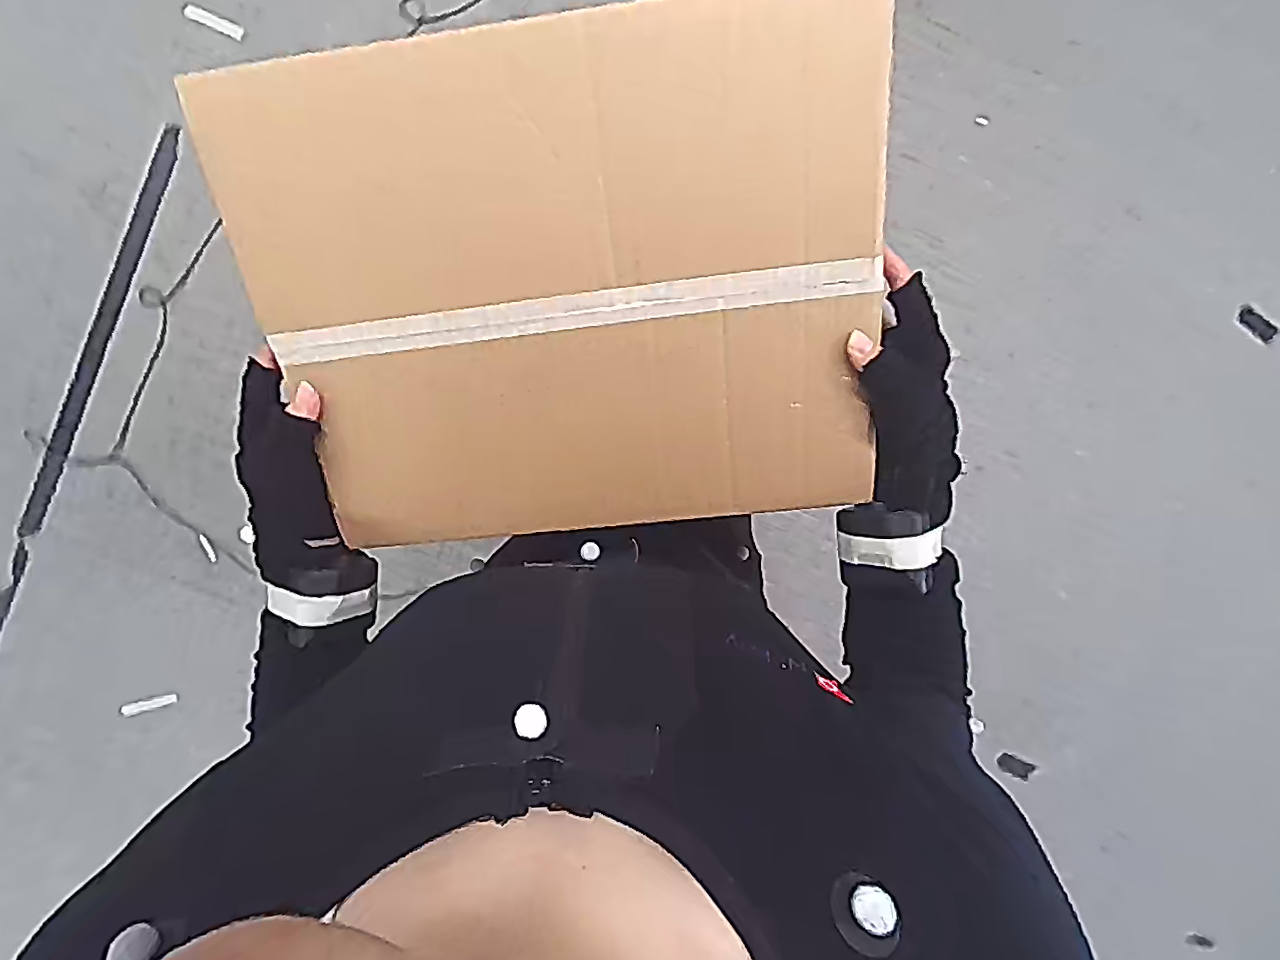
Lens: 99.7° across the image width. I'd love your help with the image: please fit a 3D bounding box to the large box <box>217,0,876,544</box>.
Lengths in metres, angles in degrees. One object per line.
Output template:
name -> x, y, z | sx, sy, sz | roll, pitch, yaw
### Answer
large box -> -0.043, -0.166, 0.506 | 0.408, 0.320, 0.320 | -6, 113, 4
